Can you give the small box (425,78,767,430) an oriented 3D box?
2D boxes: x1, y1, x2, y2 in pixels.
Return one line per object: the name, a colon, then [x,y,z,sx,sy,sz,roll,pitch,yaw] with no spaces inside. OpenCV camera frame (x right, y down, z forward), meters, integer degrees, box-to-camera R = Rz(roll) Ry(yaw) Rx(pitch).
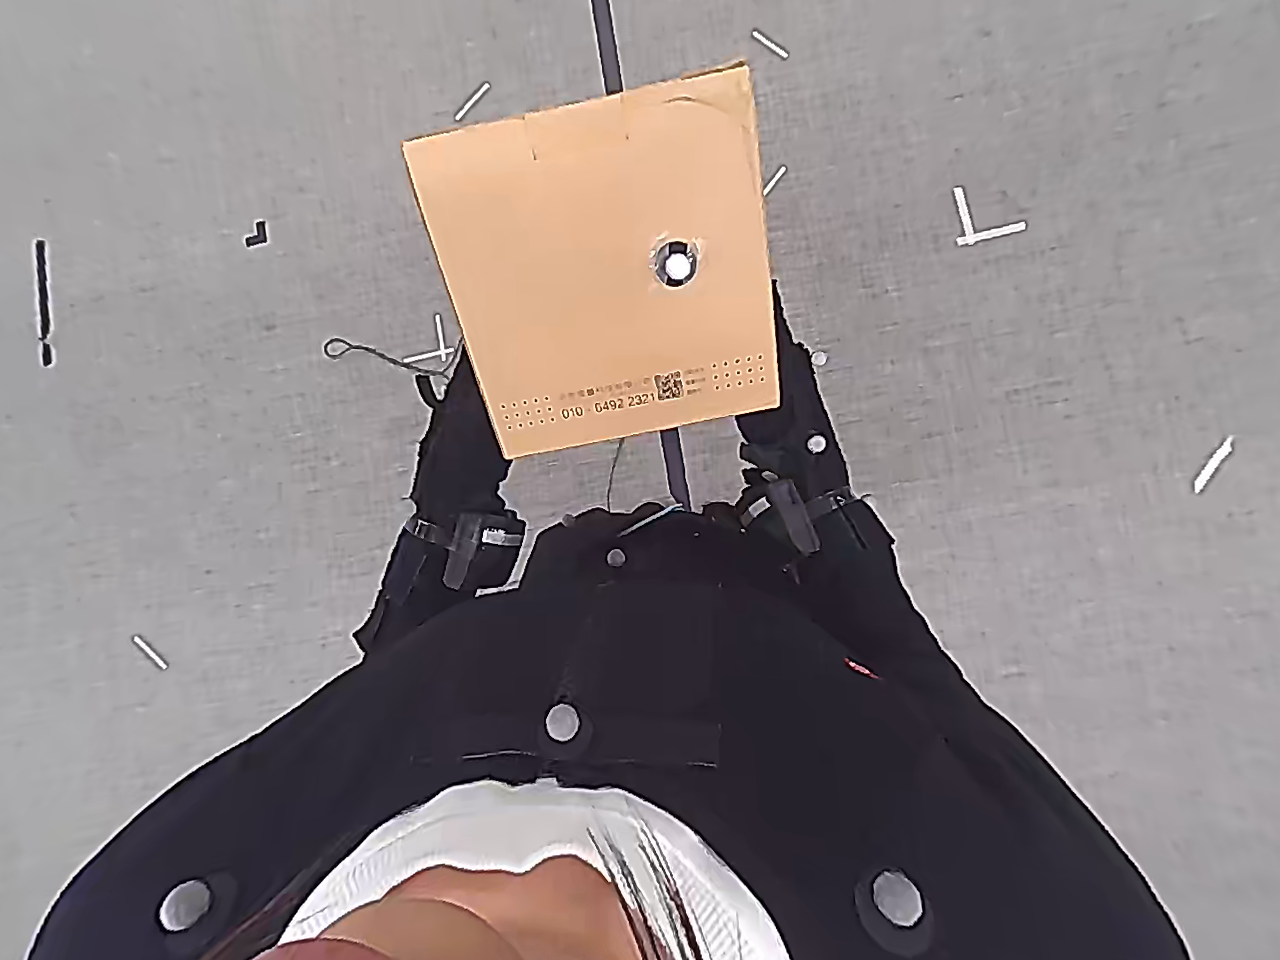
small box: [-0.015,-0.143,0.373,0.168,0.179,0.176,-10,117,4]
